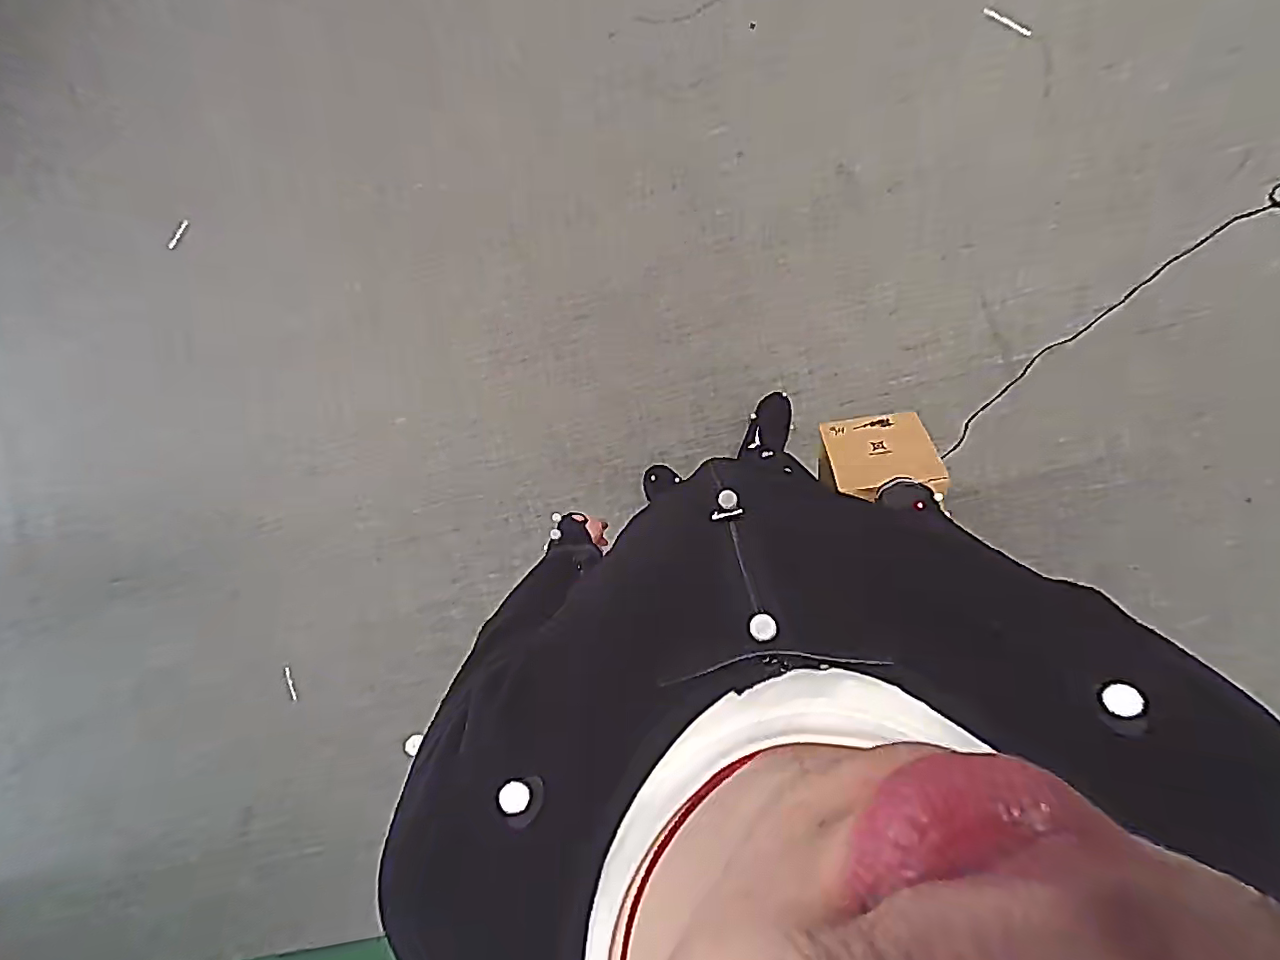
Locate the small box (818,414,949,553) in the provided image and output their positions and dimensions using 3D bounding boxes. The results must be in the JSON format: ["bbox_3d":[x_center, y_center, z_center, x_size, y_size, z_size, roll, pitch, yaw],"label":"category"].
[{"bbox_3d":[0.419,0.014,0.953,0.168,0.179,0.176,-10,132,10],"label":"small box"}]
